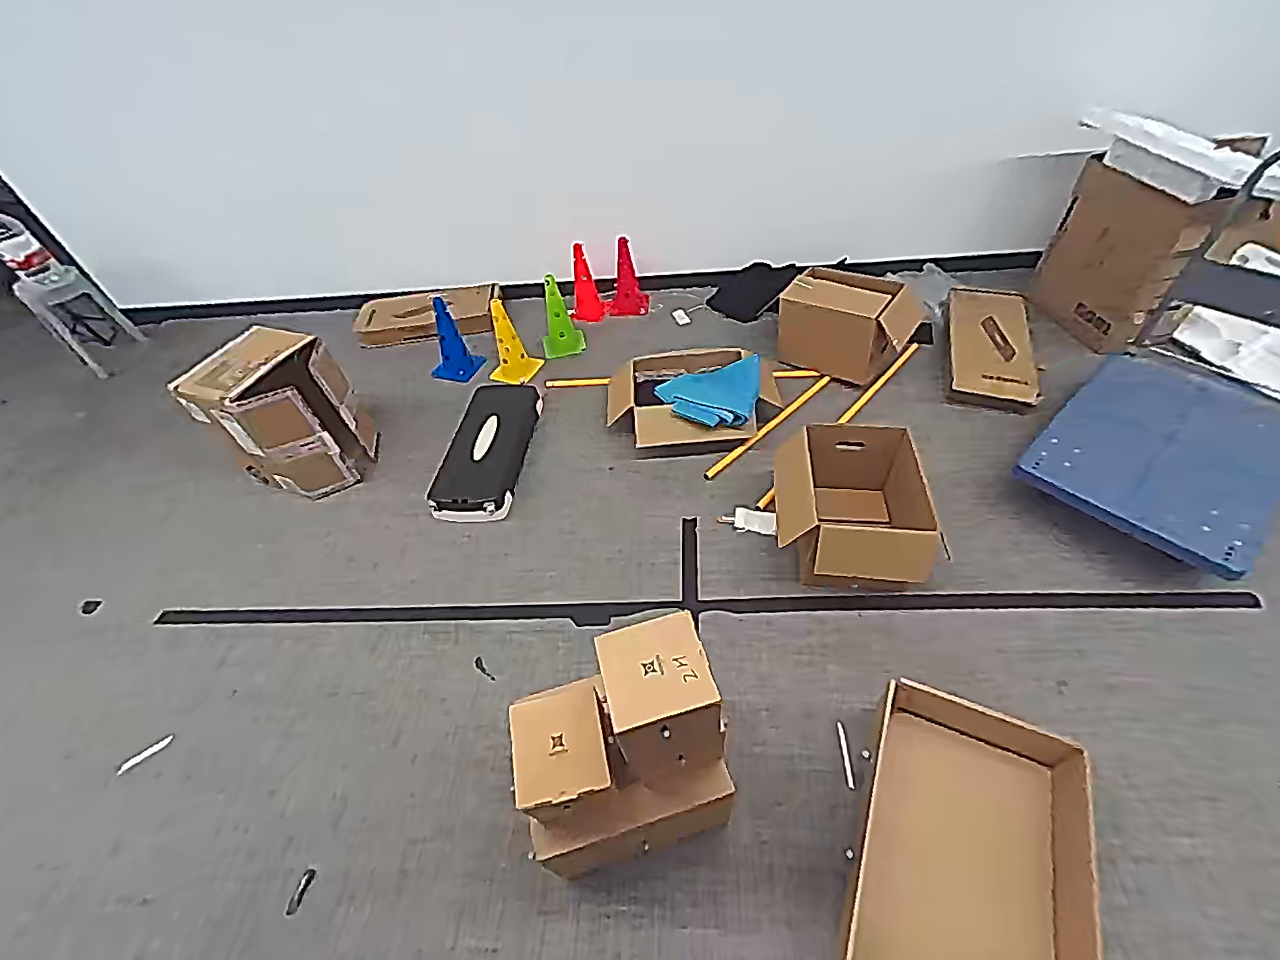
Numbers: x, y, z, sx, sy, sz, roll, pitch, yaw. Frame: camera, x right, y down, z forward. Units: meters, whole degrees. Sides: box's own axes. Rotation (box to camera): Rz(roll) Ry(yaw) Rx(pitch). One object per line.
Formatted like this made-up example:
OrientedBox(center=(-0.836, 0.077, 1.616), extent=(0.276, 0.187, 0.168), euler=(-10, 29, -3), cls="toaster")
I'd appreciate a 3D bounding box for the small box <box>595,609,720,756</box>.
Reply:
OrientedBox(center=(0.033, 0.354, 0.938), extent=(0.179, 0.176, 0.168), euler=(-15, 49, -5), cls="small box")
